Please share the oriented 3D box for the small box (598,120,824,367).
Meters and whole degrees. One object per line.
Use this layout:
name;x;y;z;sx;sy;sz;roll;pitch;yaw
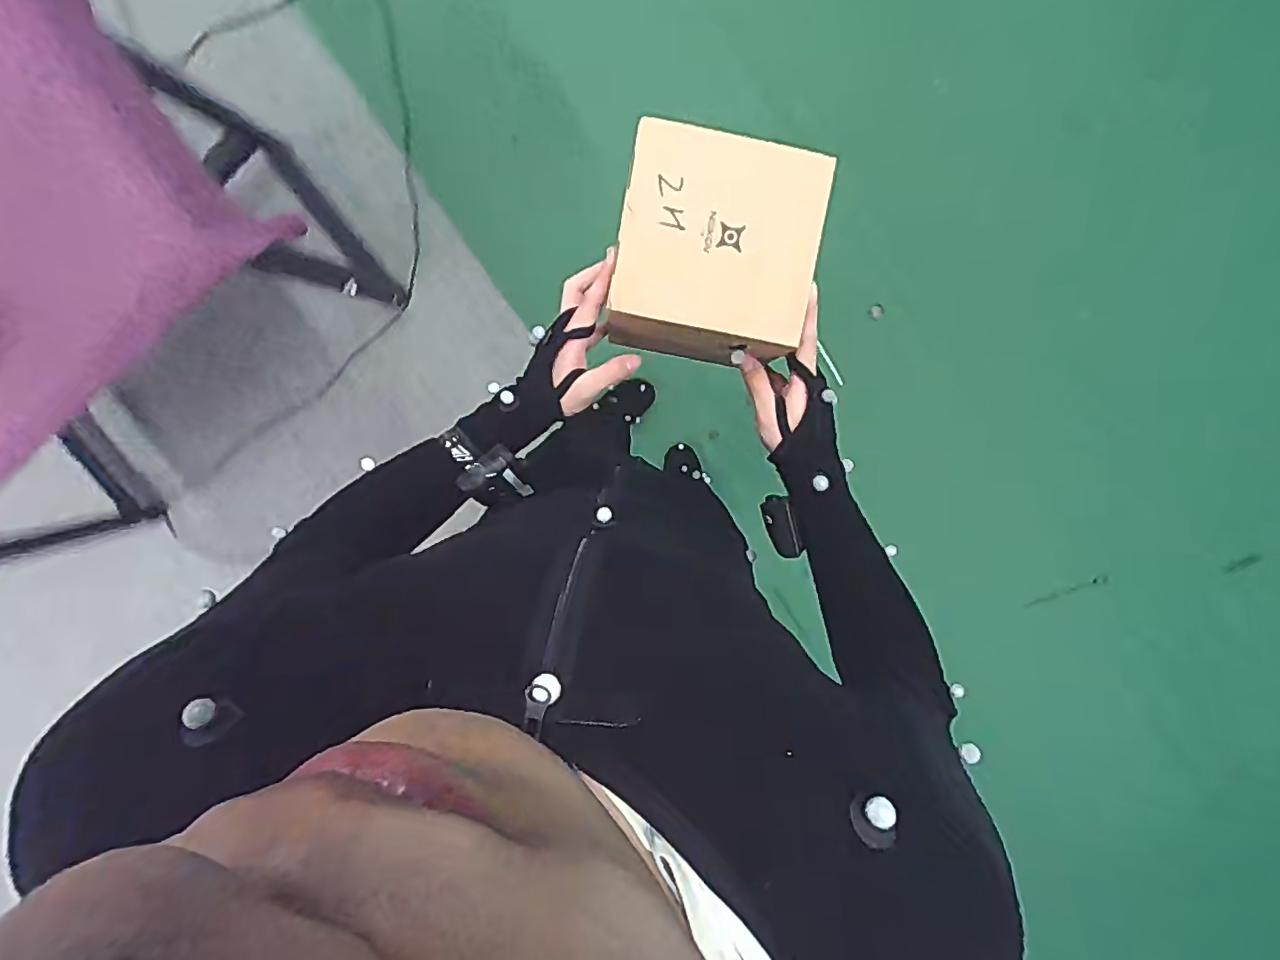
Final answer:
small box;0.058;-0.216;0.546;0.179;0.176;0.168;9;93;-3
